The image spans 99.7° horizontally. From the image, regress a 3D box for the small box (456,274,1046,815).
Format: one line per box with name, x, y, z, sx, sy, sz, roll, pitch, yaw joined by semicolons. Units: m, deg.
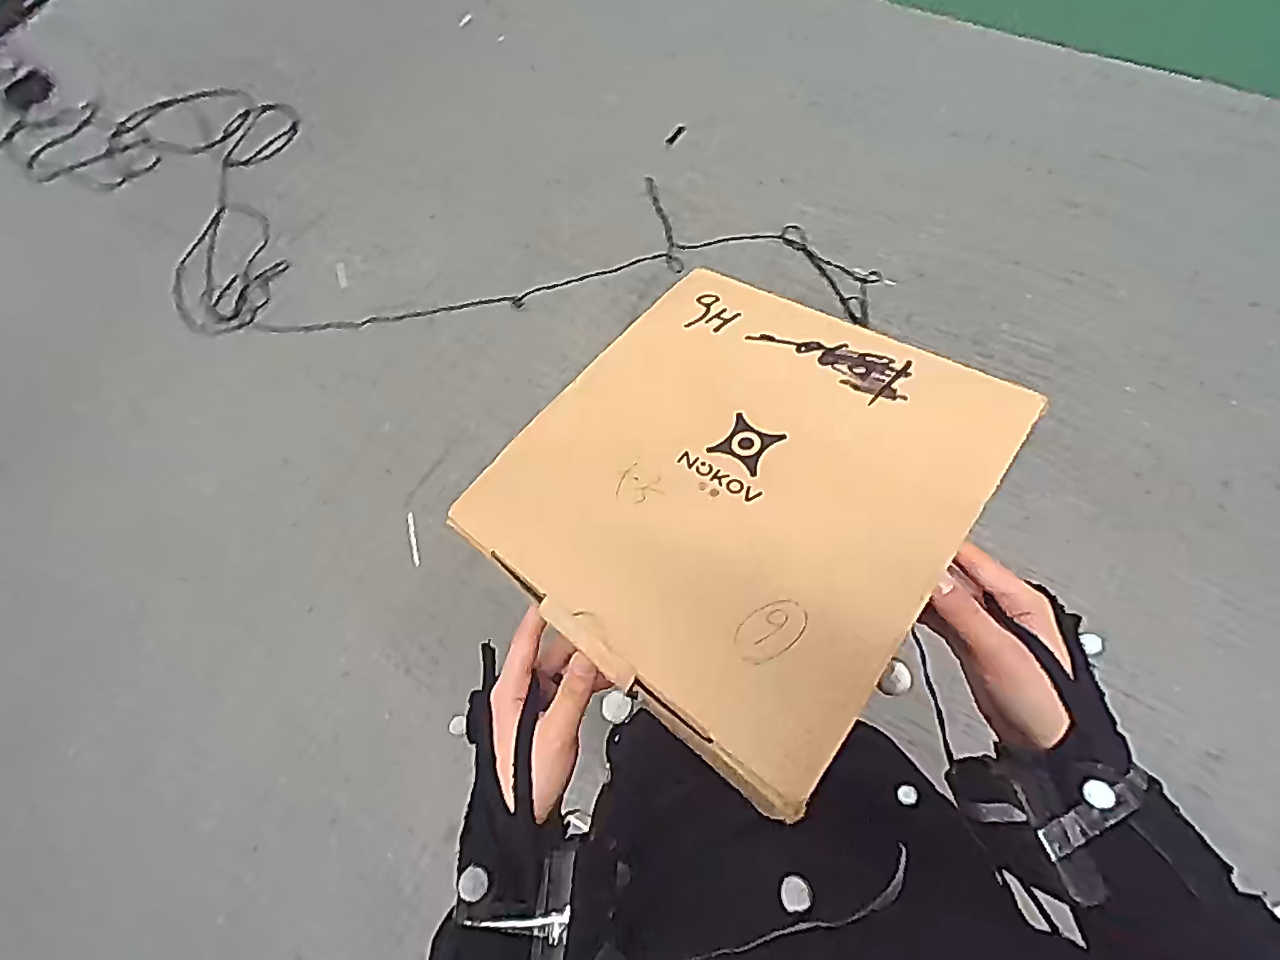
small box;0.051;0.037;0.278;0.168;0.176;0.179;33;71;27
